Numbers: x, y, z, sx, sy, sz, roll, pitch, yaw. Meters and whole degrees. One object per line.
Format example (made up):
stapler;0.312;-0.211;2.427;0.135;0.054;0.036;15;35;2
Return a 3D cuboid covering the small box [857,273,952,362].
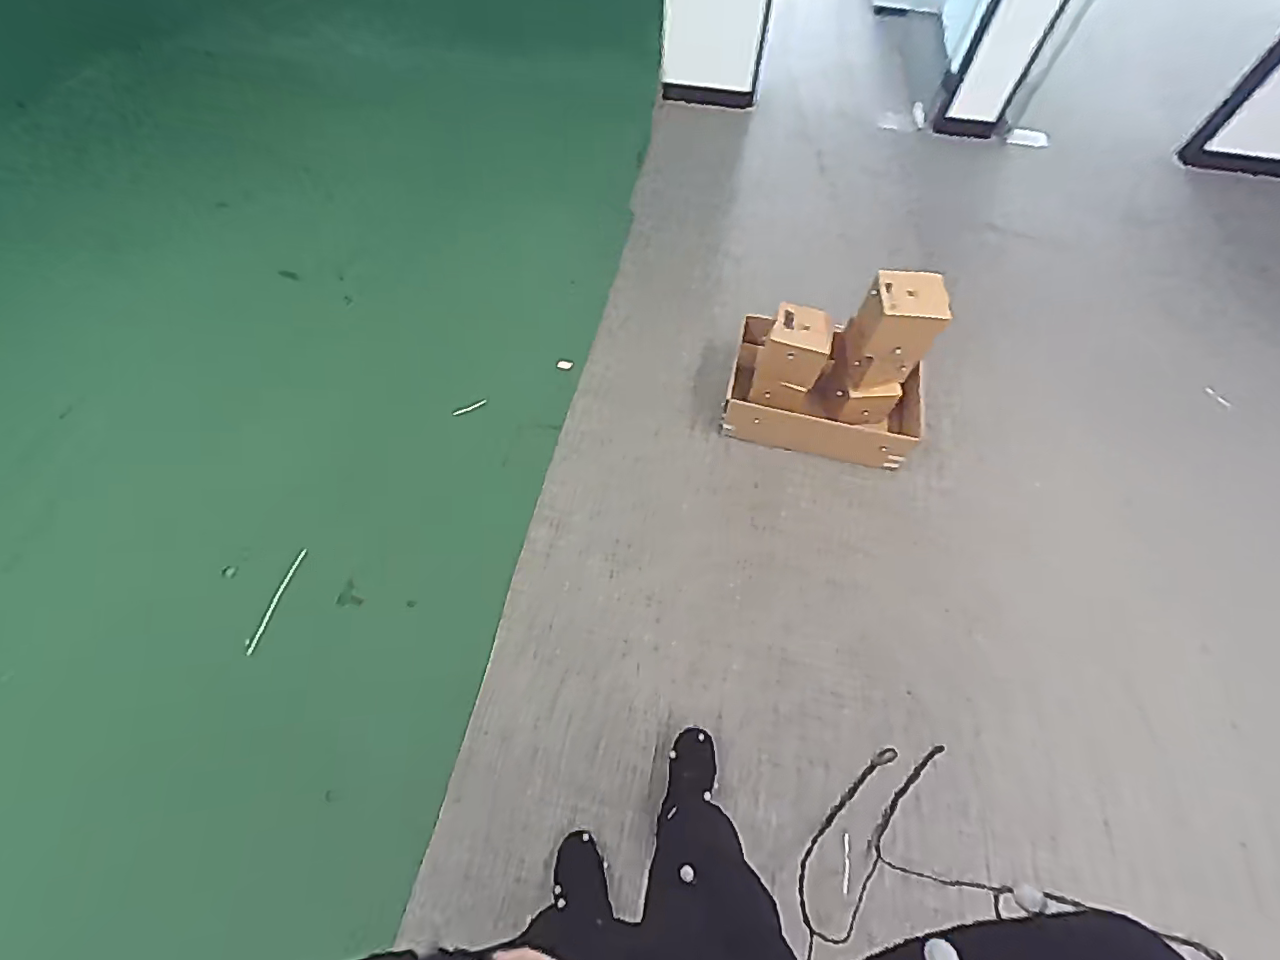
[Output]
small box;0.730;-0.449;1.510;0.179;0.176;0.168;5;62;2

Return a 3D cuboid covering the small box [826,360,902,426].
small box;0.737;-0.290;1.795;0.168;0.176;0.179;-3;62;-1

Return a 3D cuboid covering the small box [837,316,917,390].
small box;0.736;-0.395;1.666;0.168;0.176;0.179;-12;62;-7

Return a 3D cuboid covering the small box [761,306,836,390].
small box;0.483;-0.403;1.666;0.179;0.176;0.168;16;62;6
